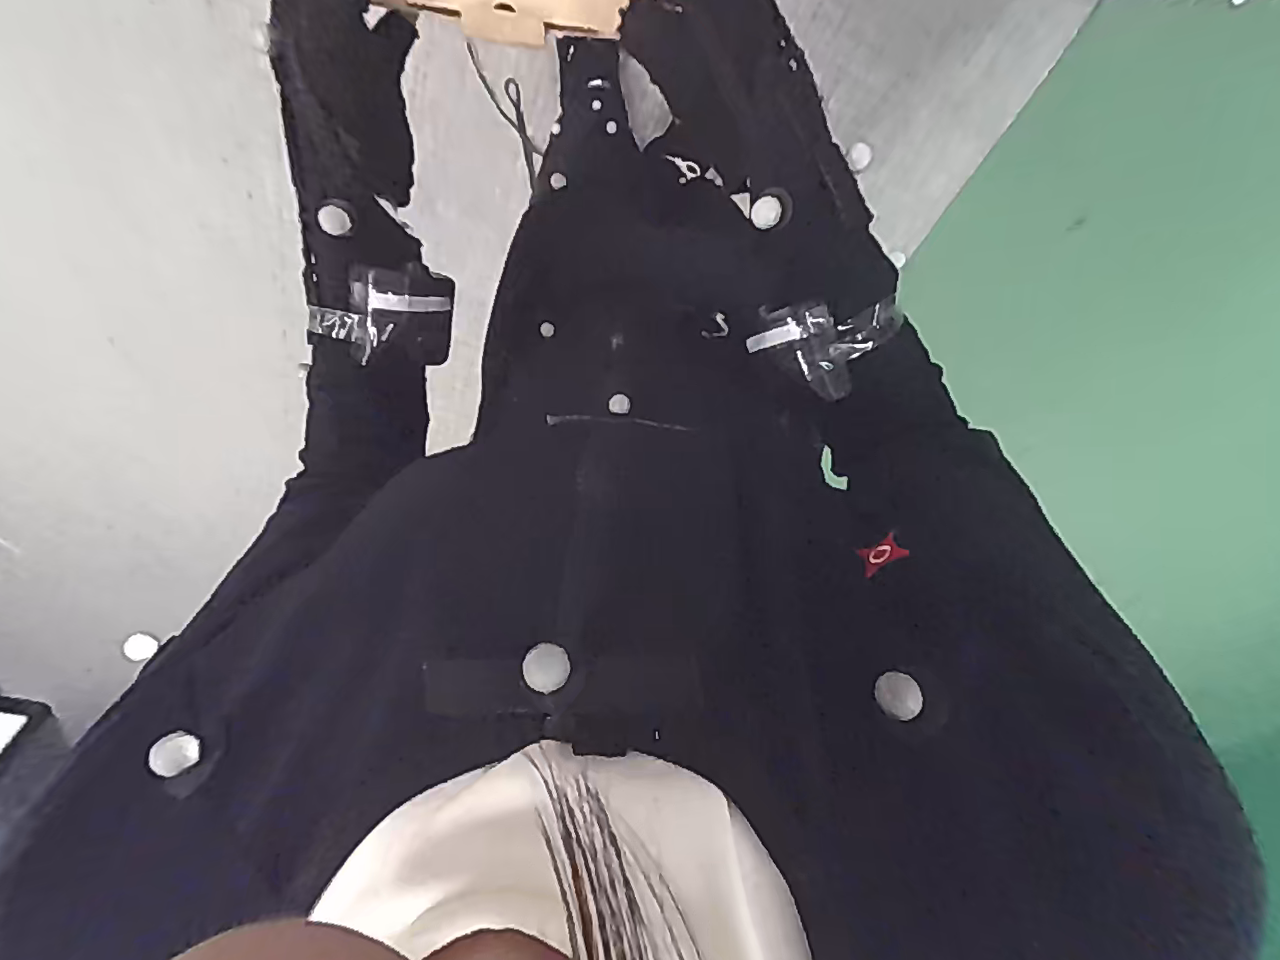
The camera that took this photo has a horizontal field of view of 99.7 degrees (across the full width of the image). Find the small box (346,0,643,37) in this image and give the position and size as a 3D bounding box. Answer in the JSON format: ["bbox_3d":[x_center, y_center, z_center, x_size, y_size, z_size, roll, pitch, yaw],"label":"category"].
[{"bbox_3d":[-0.077,-0.371,0.296,0.168,0.176,0.179,0,134,-5],"label":"small box"}]
